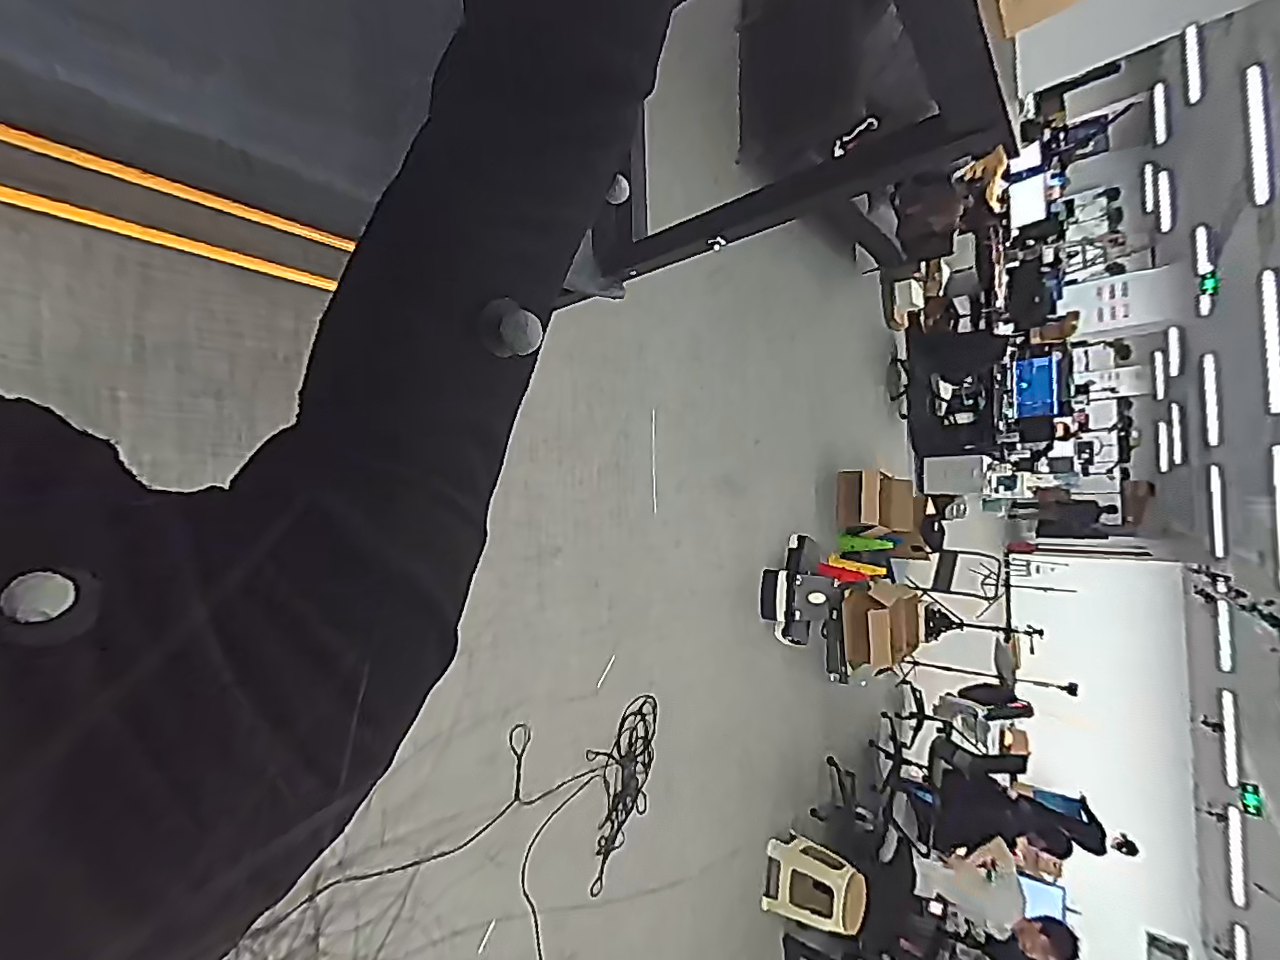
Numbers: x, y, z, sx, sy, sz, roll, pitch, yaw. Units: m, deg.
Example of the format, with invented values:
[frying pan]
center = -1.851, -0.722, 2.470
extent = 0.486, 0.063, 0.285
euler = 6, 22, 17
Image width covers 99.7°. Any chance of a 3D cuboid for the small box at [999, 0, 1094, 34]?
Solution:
[small box]
center = 0.459, -0.624, 0.546
extent = 0.168, 0.176, 0.179
euler = 10, 82, -49
